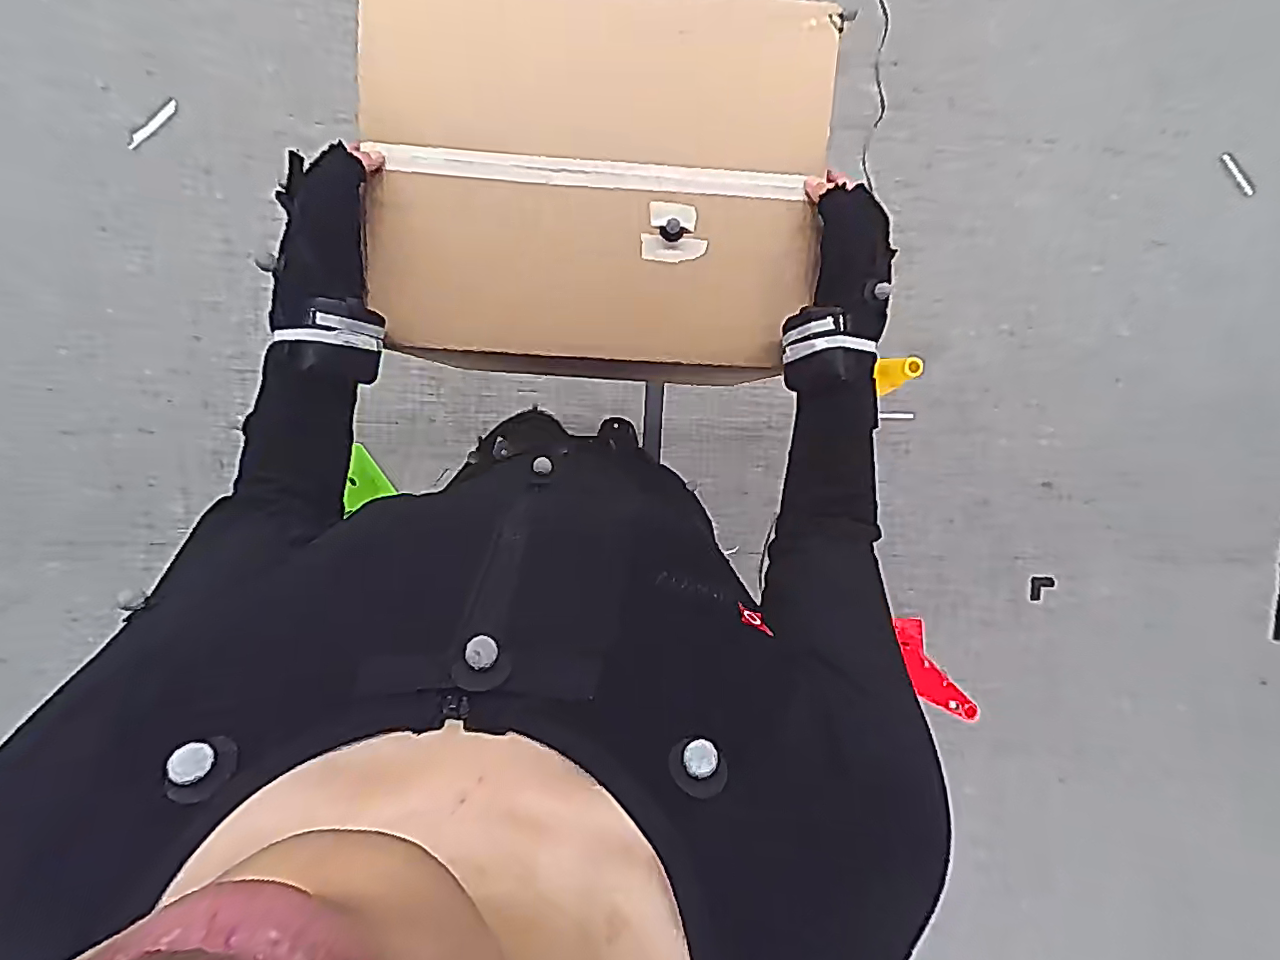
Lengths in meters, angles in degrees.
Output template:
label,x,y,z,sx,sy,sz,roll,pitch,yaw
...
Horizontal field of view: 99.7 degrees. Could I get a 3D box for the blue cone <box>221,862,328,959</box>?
label,x,y,z,sx,sy,sz,roll,pitch,yaw
blue cone,-0.949,1.147,1.317,0.192,0.380,0.193,5,92,-1

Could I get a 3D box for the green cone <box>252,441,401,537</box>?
label,x,y,z,sx,sy,sz,roll,pitch,yaw
green cone,-0.757,0.033,1.258,0.202,0.368,0.200,-36,93,1

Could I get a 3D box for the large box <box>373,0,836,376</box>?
label,x,y,z,sx,sy,sz,roll,pitch,yaw
large box,-0.041,-0.293,0.625,0.408,0.320,0.320,2,97,-4
